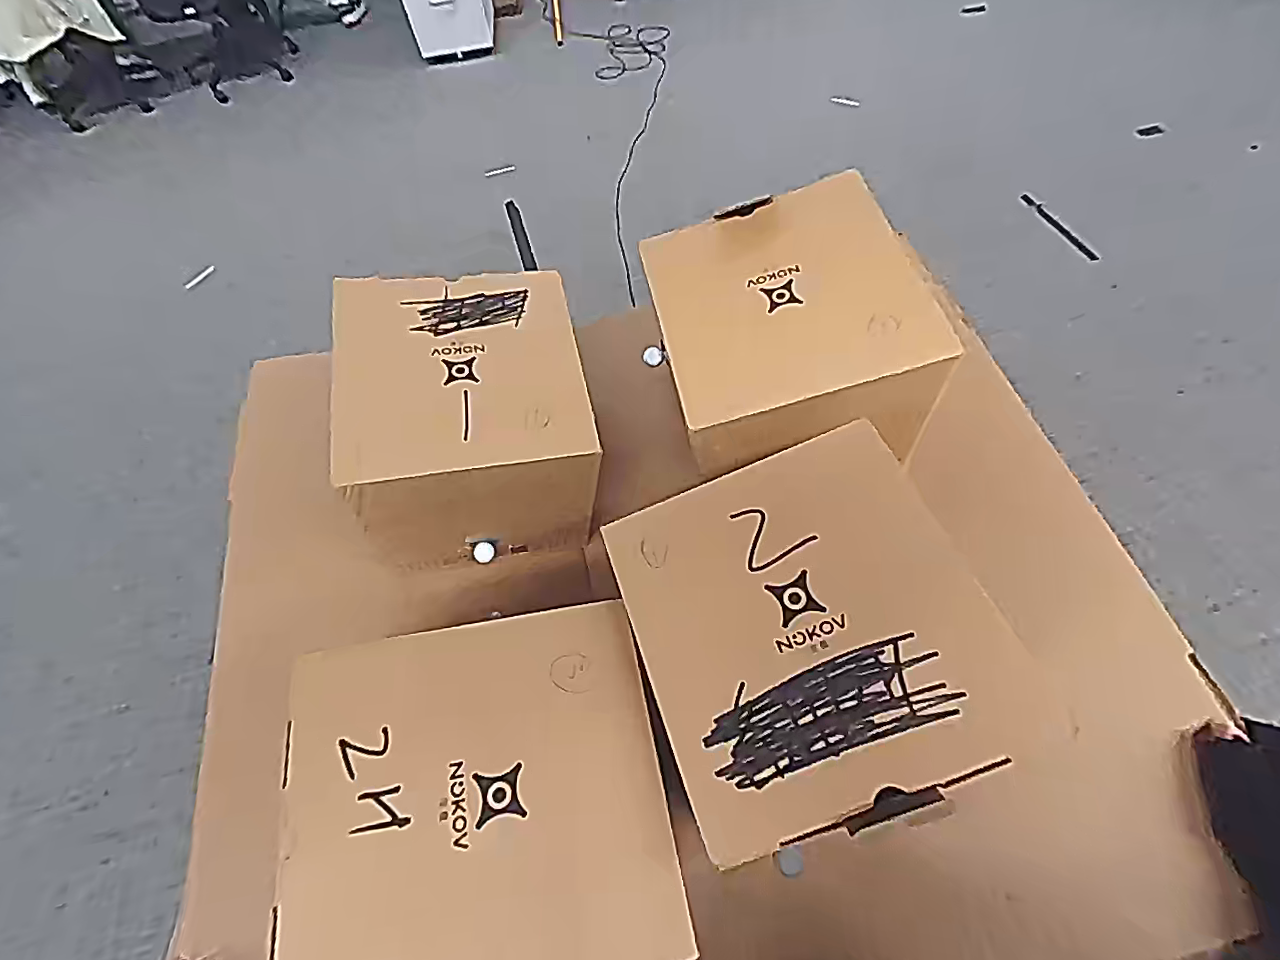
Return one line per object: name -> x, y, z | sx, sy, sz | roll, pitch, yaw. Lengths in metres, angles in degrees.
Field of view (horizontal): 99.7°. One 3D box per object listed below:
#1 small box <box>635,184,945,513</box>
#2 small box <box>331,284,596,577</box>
small box -> 0.108, -0.087, 0.435 | 0.168, 0.176, 0.179 | -16, 61, 6
small box -> -0.136, -0.038, 0.451 | 0.168, 0.176, 0.179 | -7, 62, -13
